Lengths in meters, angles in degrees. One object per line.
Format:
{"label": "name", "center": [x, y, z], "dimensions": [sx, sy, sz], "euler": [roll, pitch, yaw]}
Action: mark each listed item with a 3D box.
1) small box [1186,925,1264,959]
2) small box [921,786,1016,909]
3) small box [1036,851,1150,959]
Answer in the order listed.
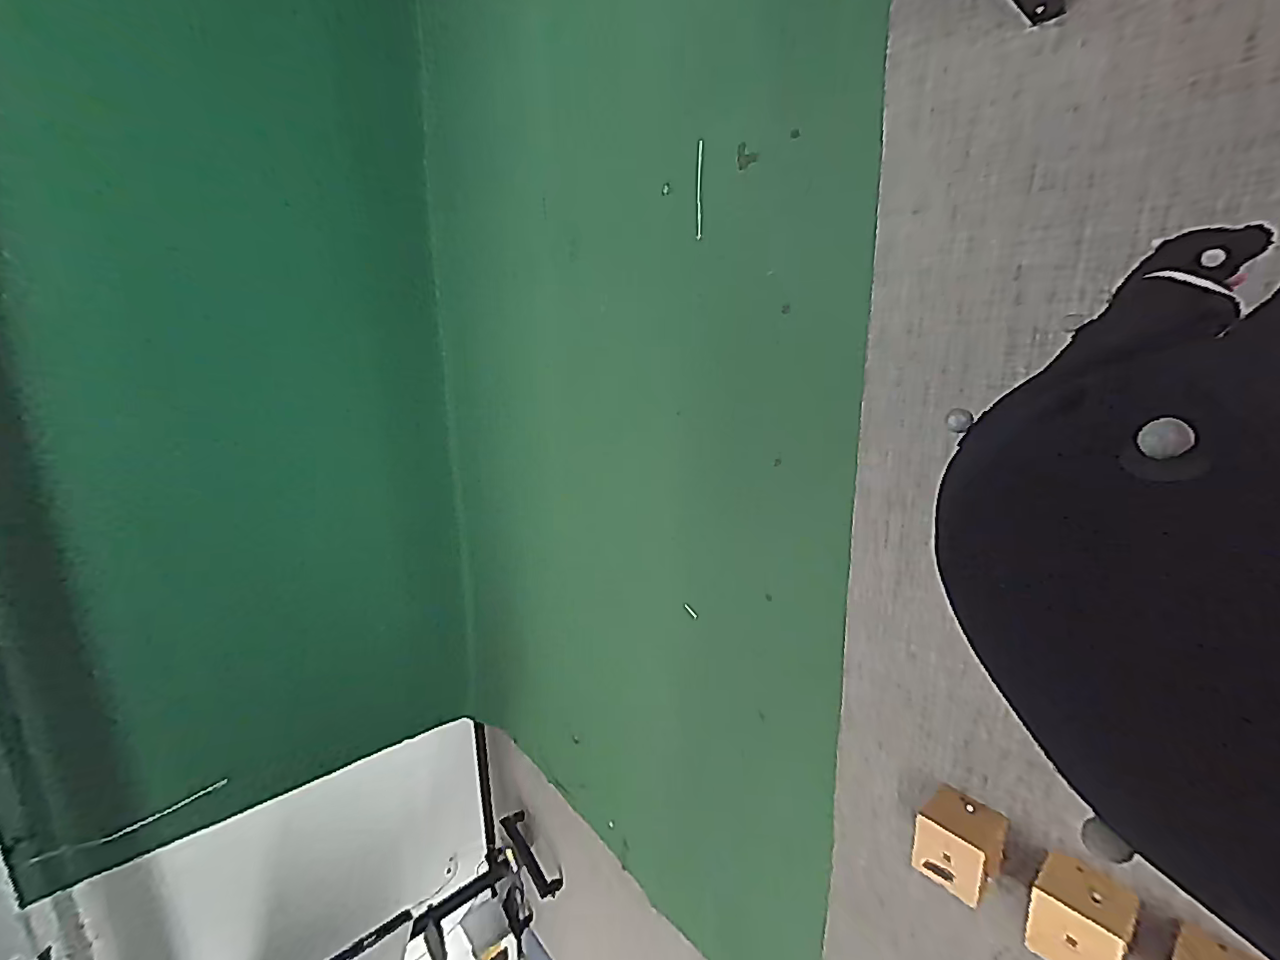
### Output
{"label": "small box", "center": [1.195, 1.056, 1.075], "dimensions": [0.168, 0.176, 0.179], "euler": [15, 110, 49]}
{"label": "small box", "center": [0.880, 0.972, 1.447], "dimensions": [0.168, 0.176, 0.179], "euler": [13, 108, 49]}
{"label": "small box", "center": [1.049, 1.019, 1.251], "dimensions": [0.168, 0.176, 0.179], "euler": [12, 108, 50]}
